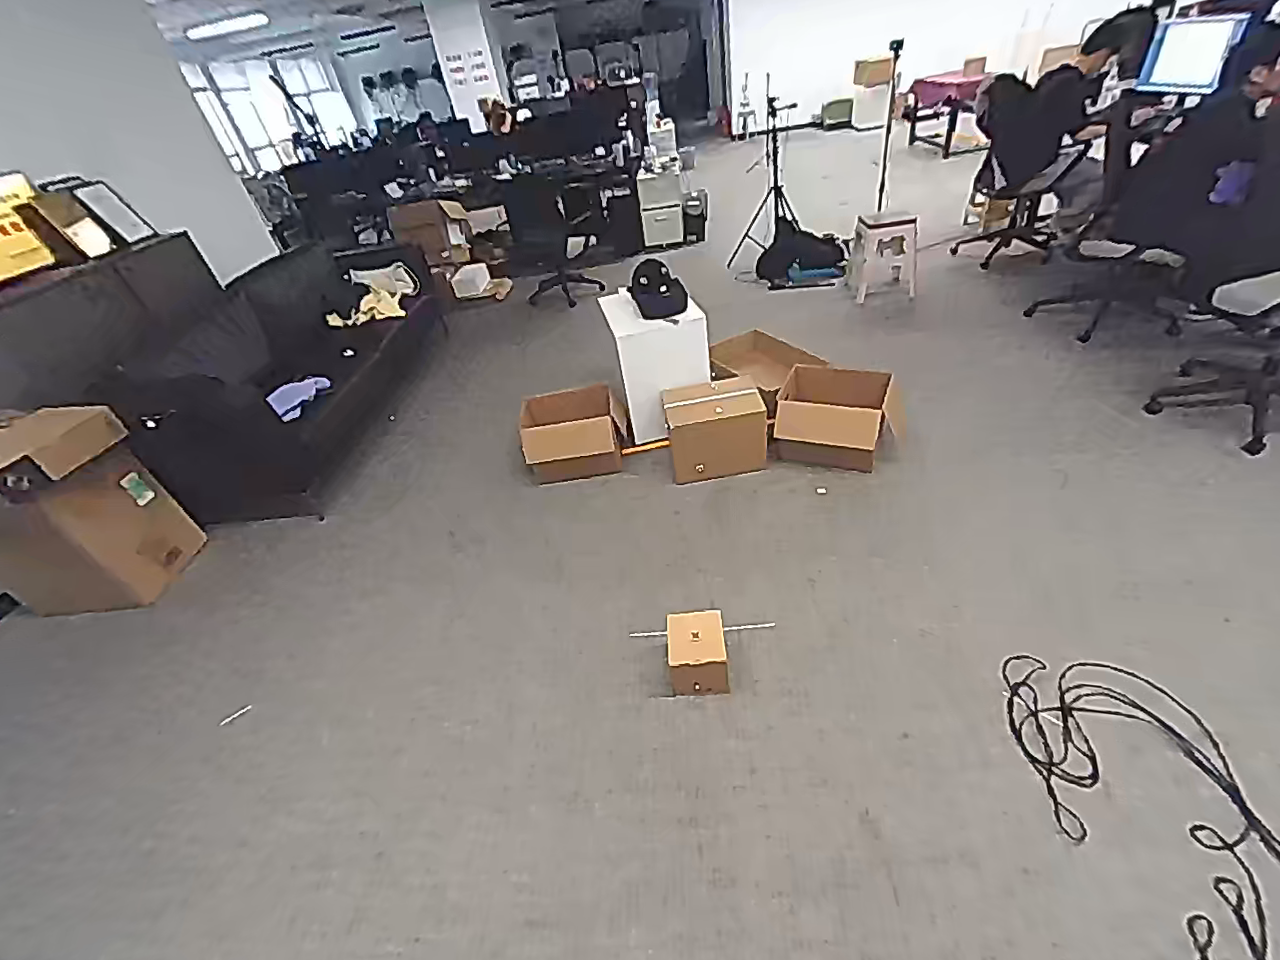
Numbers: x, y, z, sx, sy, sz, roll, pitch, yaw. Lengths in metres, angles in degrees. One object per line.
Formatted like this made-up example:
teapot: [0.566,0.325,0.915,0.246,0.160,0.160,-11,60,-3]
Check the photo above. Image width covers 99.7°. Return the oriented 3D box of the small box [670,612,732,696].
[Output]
small box: [0.180,0.519,1.613,0.168,0.176,0.179,-7,39,6]
